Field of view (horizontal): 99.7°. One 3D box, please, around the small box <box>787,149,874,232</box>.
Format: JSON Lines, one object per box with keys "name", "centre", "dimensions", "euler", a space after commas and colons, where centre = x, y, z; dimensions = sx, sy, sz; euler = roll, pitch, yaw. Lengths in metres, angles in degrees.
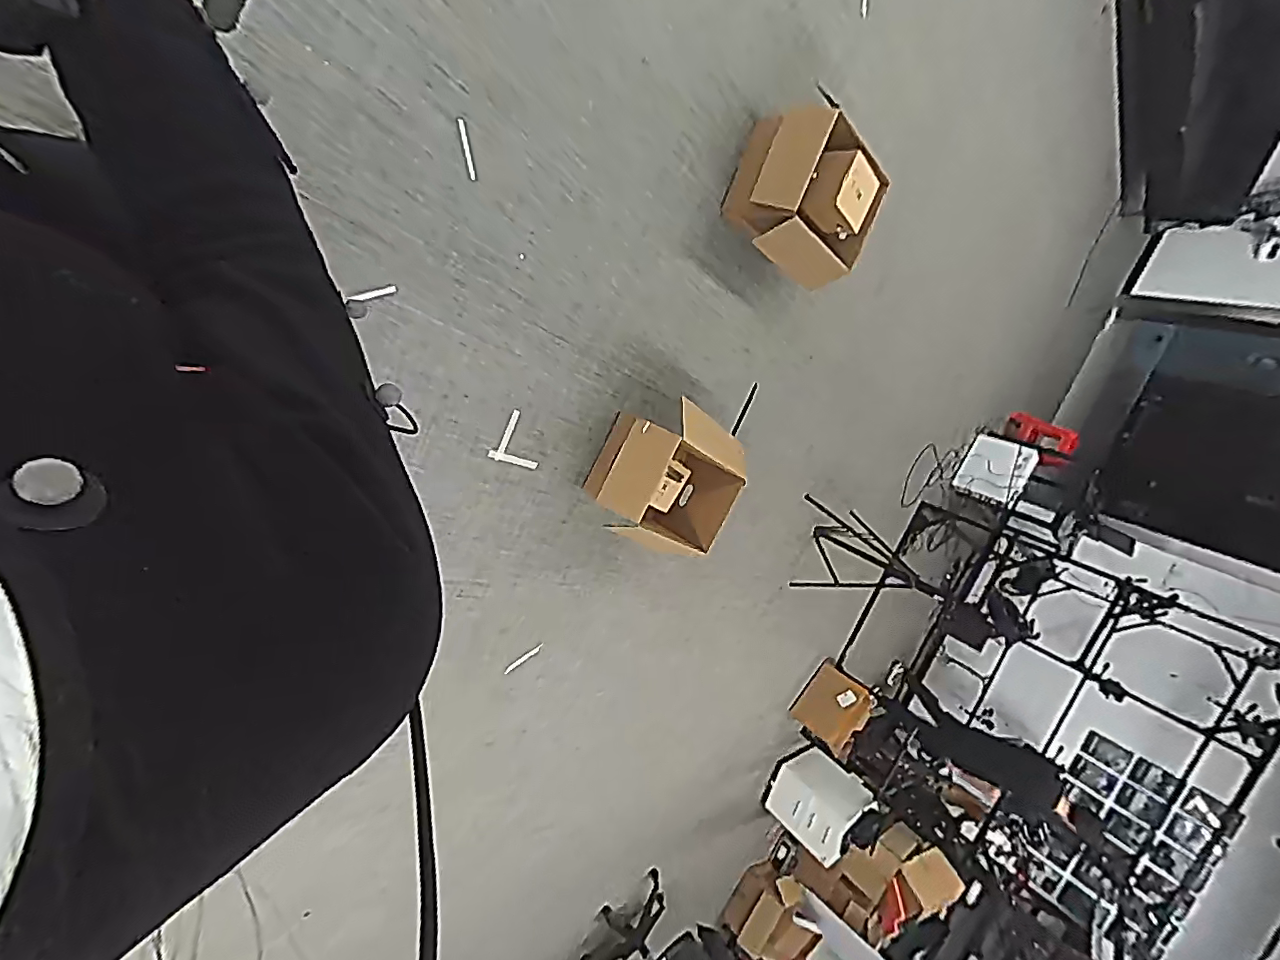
{"name": "small box", "centre": [0.601, -0.914, 1.711], "dimensions": [0.179, 0.176, 0.168], "euler": [18, 98, -46]}
